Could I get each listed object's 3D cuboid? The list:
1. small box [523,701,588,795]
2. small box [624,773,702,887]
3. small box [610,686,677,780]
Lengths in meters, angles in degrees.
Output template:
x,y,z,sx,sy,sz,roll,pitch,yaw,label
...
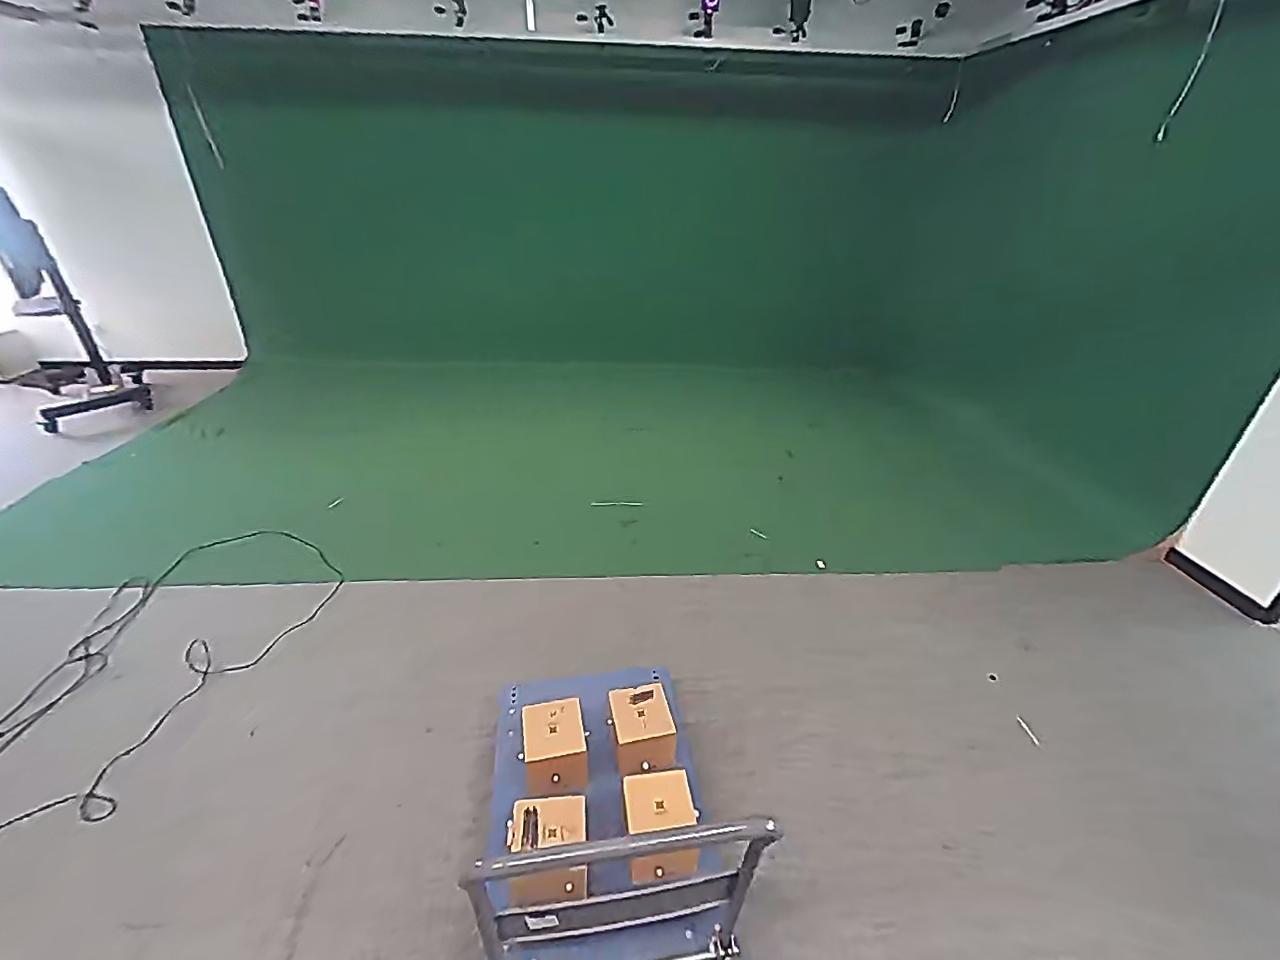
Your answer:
x,y,z,sx,sy,sz,roll,pitch,yaw,label
-0.241,0.766,1.537,0.168,0.176,0.179,-4,31,-12,small box
0.050,0.879,1.362,0.168,0.176,0.179,-3,31,-8,small box
0.005,0.742,1.591,0.168,0.176,0.179,-6,32,-11,small box
